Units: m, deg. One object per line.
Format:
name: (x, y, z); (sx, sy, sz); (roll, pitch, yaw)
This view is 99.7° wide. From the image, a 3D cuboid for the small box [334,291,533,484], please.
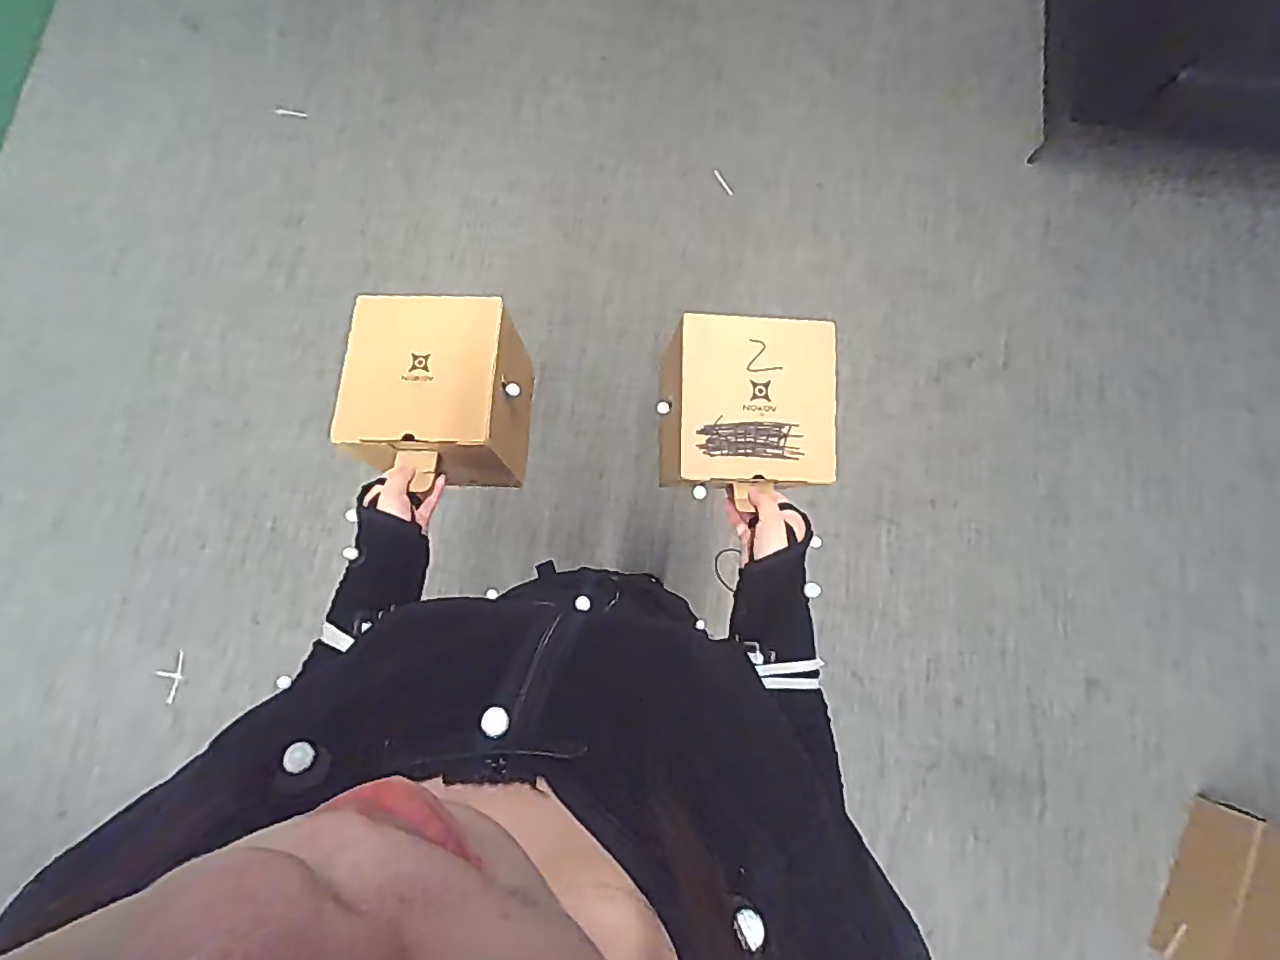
small box: (-0.231, -0.103, 0.654); (0.168, 0.176, 0.179); (2, 75, 1)
